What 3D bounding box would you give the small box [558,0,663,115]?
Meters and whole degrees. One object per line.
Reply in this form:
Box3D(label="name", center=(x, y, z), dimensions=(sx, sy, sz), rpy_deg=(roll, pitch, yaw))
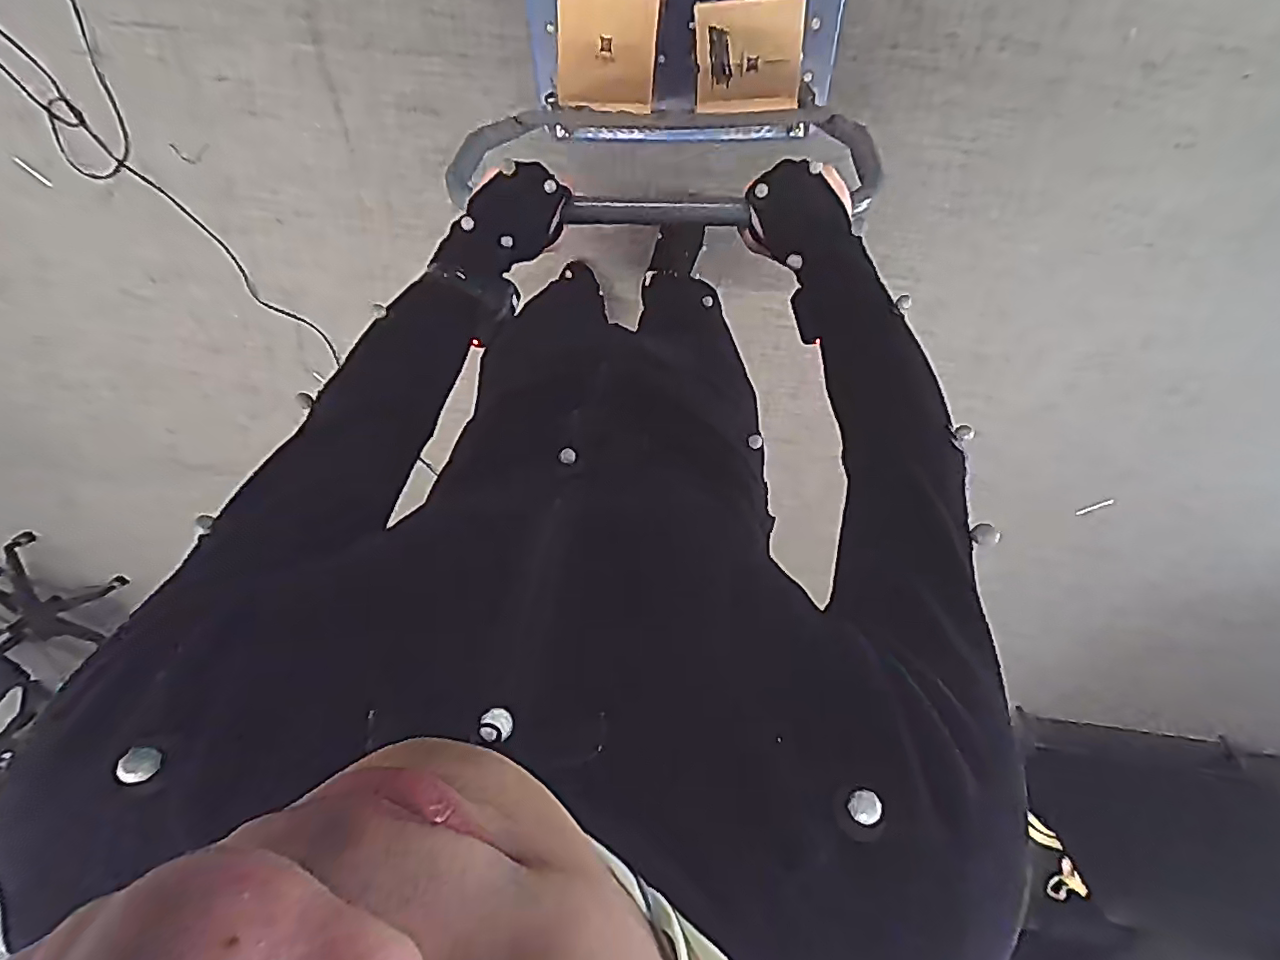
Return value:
Box3D(label="small box", center=(-0.050, -0.774, 0.957), dimensions=(0.168, 0.176, 0.179), rpy_deg=(7, 133, 0))
